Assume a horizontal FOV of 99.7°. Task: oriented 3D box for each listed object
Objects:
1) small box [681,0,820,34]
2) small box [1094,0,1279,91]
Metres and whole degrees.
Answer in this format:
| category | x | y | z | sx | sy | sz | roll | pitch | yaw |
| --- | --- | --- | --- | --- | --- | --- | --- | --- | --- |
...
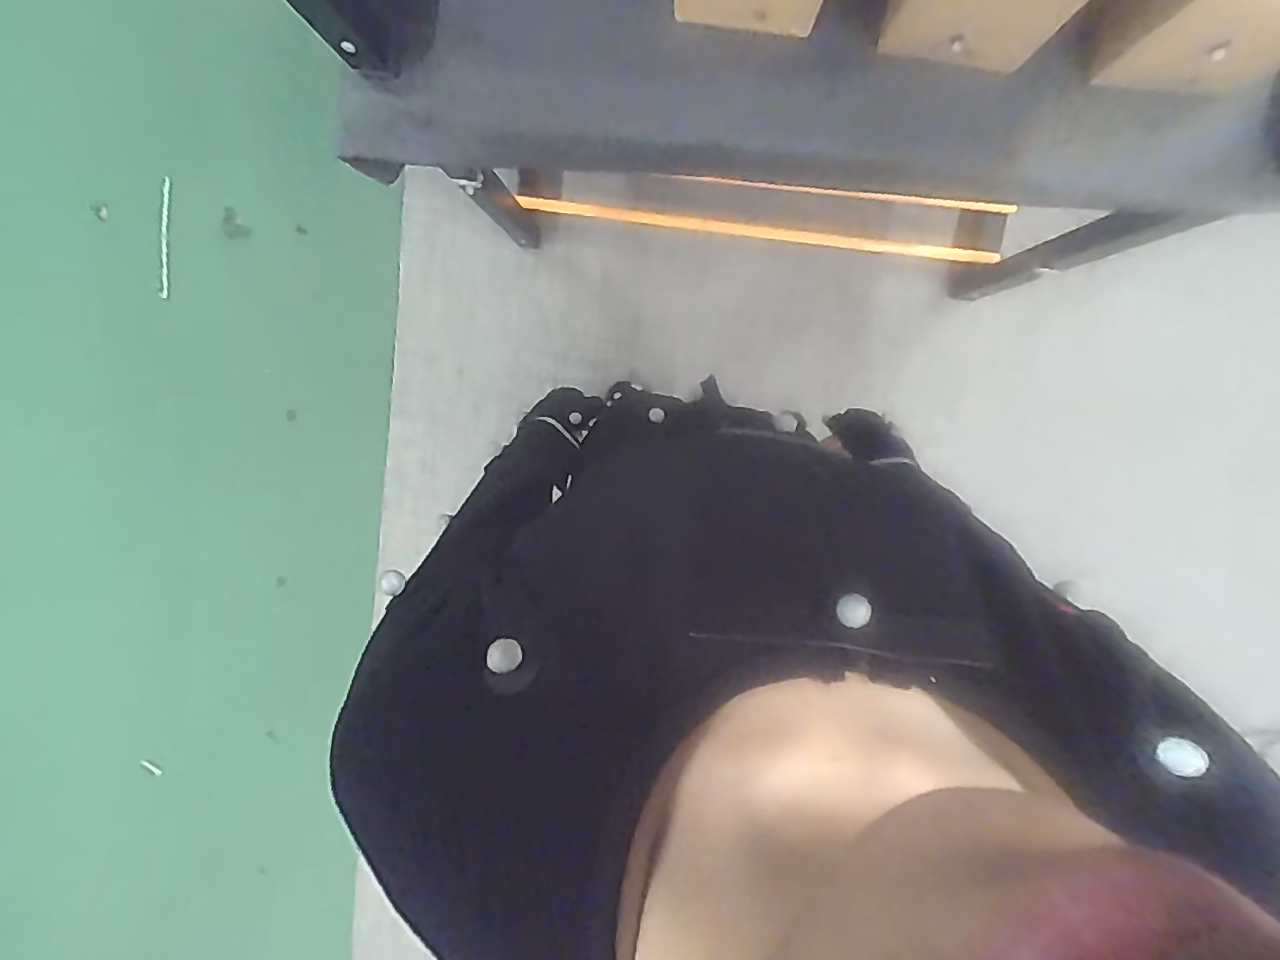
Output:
| category | x | y | z | sx | sy | sz | roll | pitch | yaw |
| --- | --- | --- | --- | --- | --- | --- | --- | --- | --- |
| small box | 0.132 | -0.622 | 0.570 | 0.168 | 0.176 | 0.179 | 8 | 98 | 2 |
| small box | 0.617 | -0.536 | 0.548 | 0.168 | 0.176 | 0.179 | 7 | 98 | 2 |
